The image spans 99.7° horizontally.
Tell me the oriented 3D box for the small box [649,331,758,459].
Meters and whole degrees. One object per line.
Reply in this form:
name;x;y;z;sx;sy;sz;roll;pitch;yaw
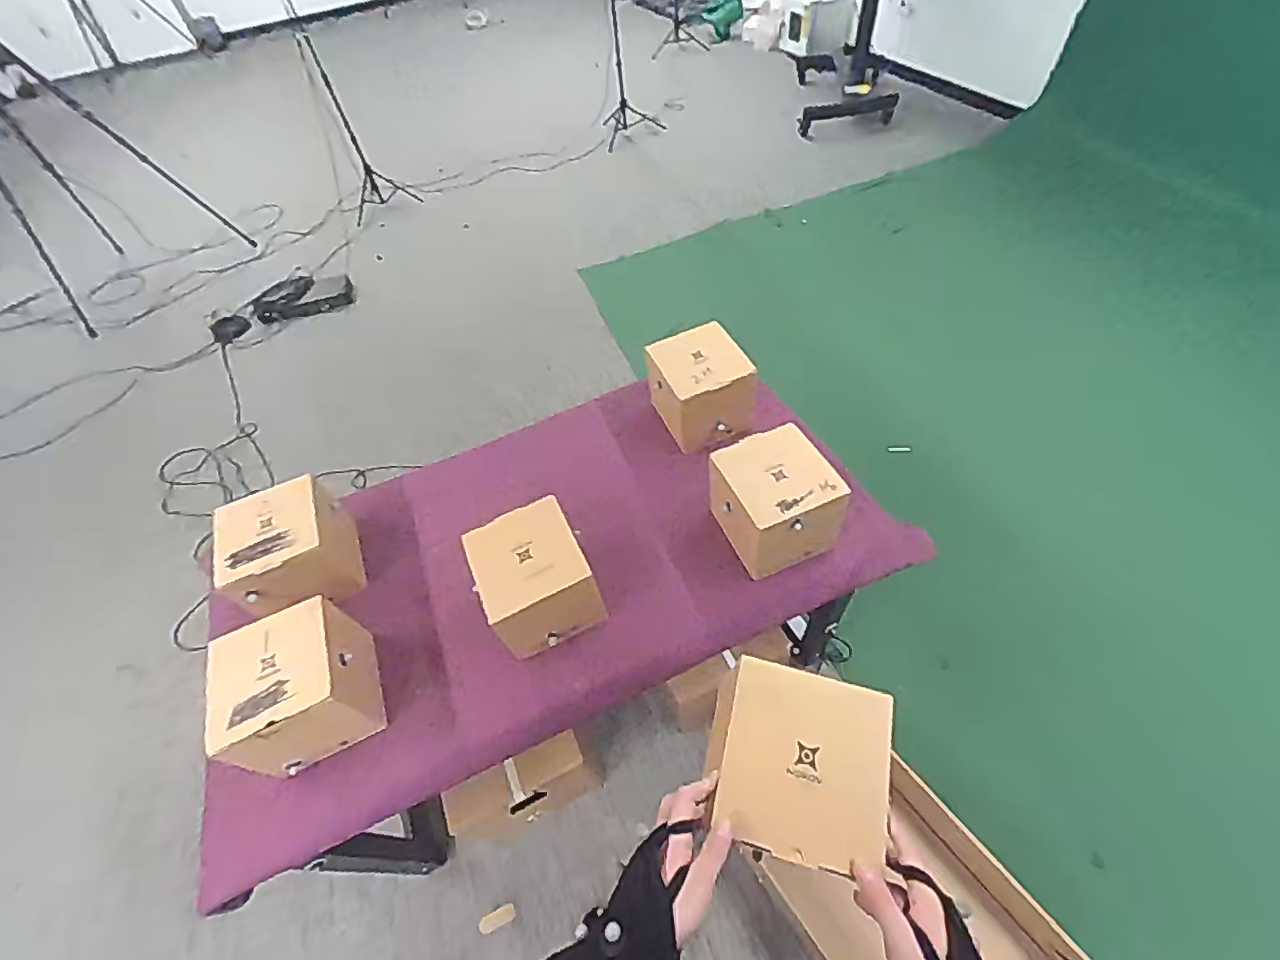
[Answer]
small box;0.130;-0.177;1.137;0.168;0.176;0.179;-22;54;-8

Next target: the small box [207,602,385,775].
small box;-0.513;0.325;0.826;0.168;0.176;0.179;-23;52;-12

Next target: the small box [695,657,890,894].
small box;0.163;0.324;0.608;0.168;0.176;0.179;13;61;8

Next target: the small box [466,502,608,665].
small box;-0.168;0.175;0.904;0.168;0.176;0.179;-24;53;-11

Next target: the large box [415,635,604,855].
large box;-0.328;0.659;1.388;0.320;0.320;0.408;-24;52;-13

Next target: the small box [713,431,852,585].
small box;0.238;0.050;0.947;0.168;0.176;0.179;-22;50;-8
